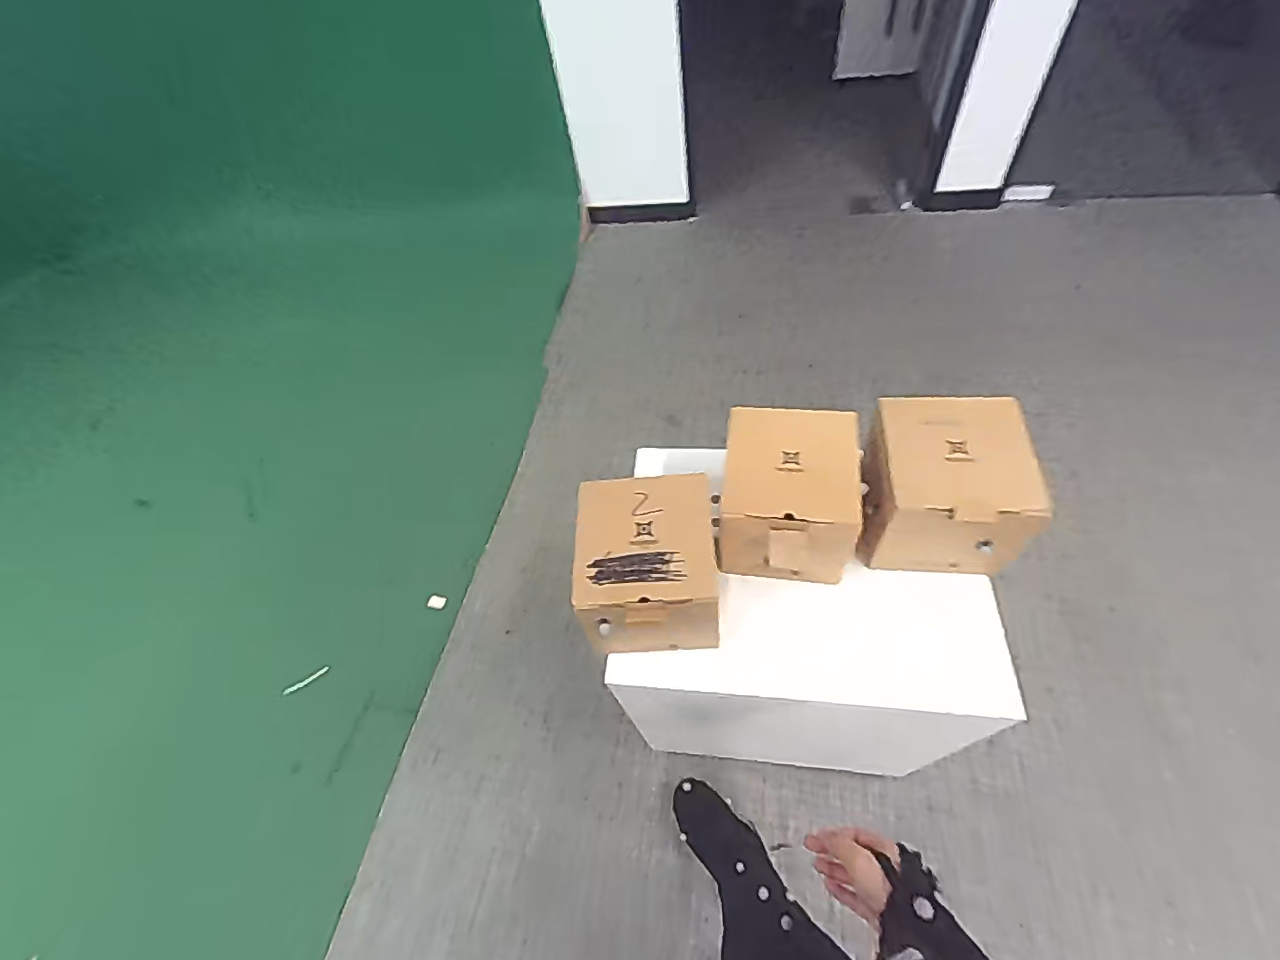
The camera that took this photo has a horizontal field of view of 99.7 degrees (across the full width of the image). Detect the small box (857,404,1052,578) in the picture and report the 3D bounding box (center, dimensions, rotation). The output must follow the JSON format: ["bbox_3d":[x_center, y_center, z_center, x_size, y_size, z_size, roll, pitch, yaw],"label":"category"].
[{"bbox_3d":[0.397,0.019,0.722,0.168,0.176,0.179,1,55,10],"label":"small box"}]
